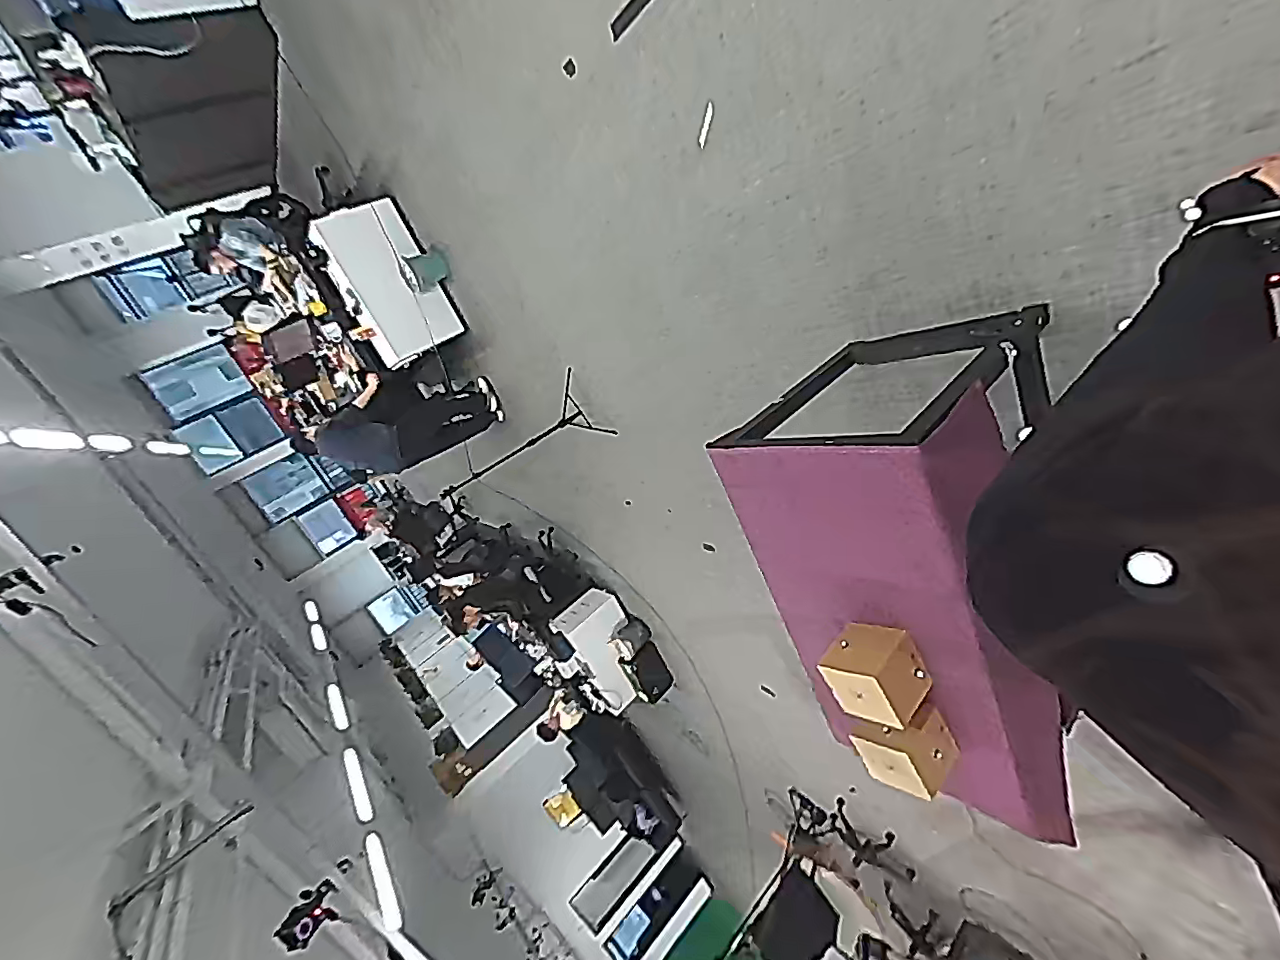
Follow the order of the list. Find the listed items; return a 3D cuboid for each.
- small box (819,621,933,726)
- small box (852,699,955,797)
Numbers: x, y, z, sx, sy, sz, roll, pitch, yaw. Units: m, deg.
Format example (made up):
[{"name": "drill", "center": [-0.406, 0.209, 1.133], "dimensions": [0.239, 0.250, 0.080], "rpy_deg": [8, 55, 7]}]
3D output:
[{"name": "small box", "center": [0.603, 0.482, 1.380], "dimensions": [0.168, 0.176, 0.179], "rpy_deg": [58, 152, -11]}, {"name": "small box", "center": [0.715, 0.697, 1.455], "dimensions": [0.168, 0.176, 0.179], "rpy_deg": [60, 152, -12]}]
